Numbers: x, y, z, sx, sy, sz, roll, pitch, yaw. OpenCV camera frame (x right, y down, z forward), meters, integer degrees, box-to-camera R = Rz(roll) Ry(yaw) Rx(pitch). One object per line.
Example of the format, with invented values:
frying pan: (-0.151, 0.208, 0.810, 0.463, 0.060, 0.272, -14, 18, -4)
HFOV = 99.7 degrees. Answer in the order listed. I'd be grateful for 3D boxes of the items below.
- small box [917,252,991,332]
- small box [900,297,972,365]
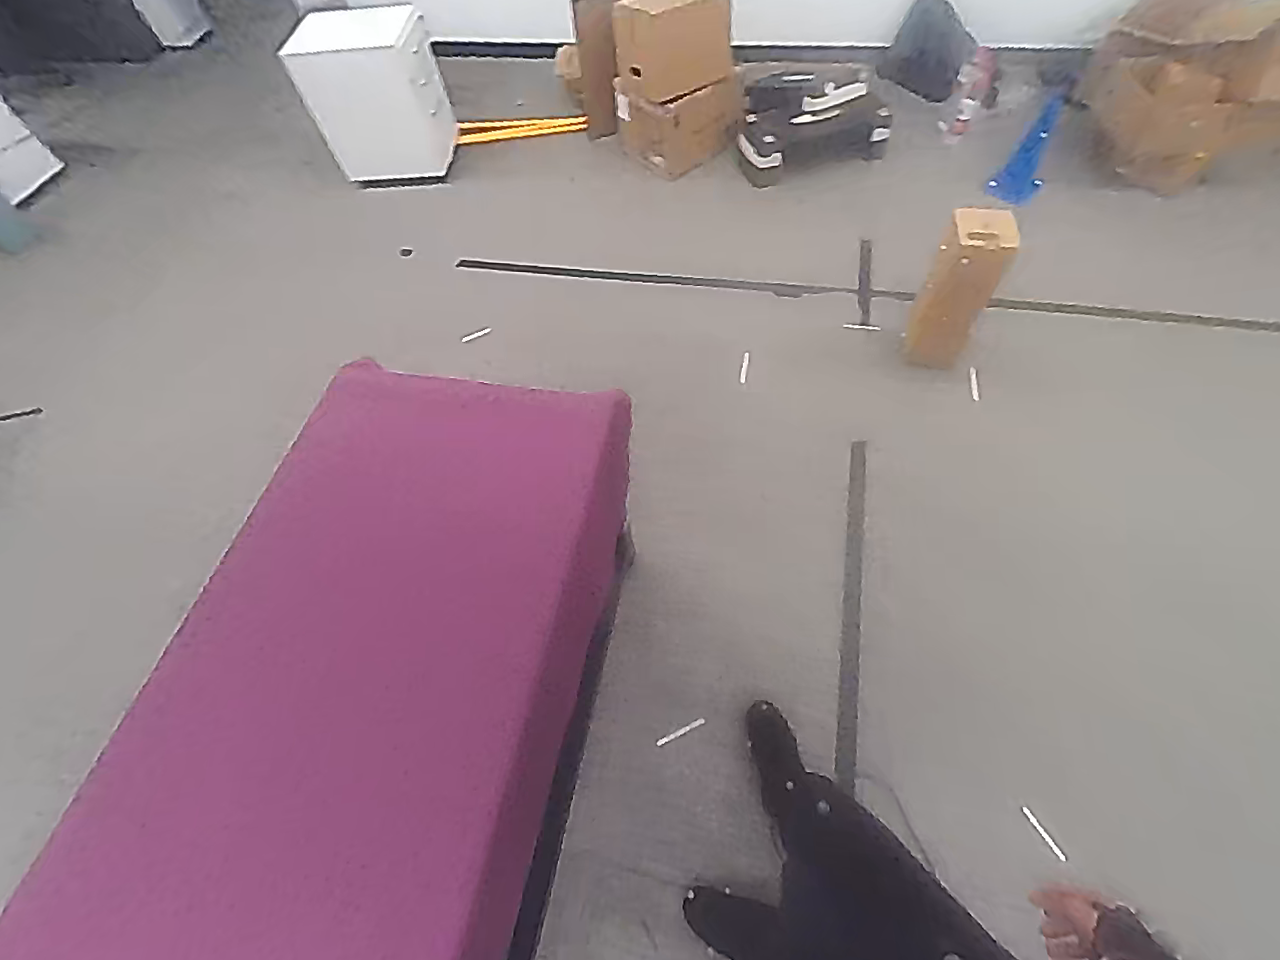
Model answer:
small box: (1.035, -0.620, 1.792, 0.168, 0.176, 0.179, 12, 62, 11)
small box: (1.048, -0.527, 1.926, 0.179, 0.176, 0.168, 7, 61, 9)
